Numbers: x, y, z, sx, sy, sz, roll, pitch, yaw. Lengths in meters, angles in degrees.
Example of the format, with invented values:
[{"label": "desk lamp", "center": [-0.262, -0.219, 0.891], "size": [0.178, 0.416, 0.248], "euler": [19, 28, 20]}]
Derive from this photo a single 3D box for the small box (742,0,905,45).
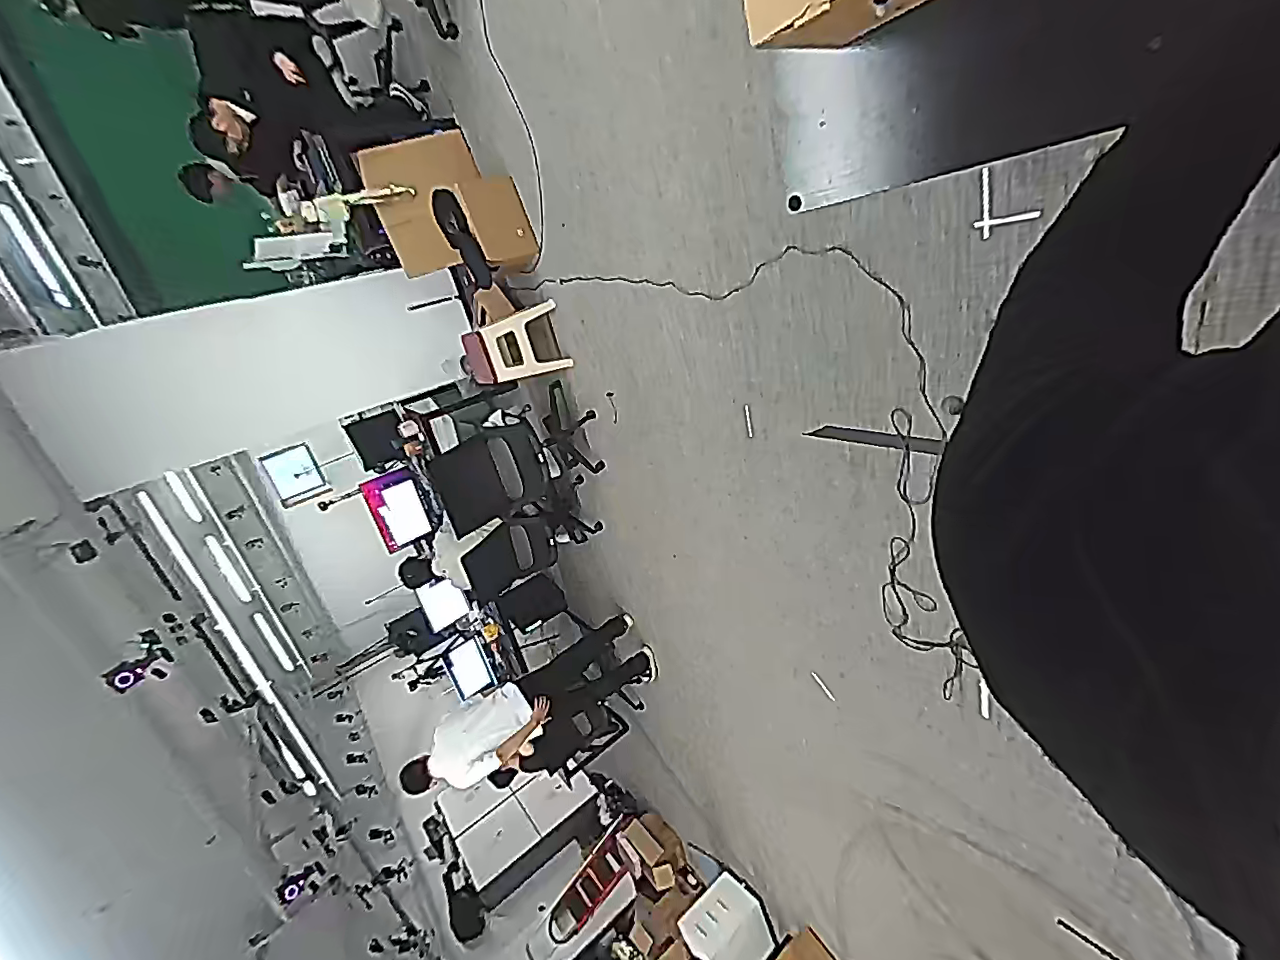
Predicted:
[{"label": "small box", "center": [0.218, -0.605, 0.577], "size": [0.168, 0.176, 0.179], "euler": [14, 124, 52]}]
